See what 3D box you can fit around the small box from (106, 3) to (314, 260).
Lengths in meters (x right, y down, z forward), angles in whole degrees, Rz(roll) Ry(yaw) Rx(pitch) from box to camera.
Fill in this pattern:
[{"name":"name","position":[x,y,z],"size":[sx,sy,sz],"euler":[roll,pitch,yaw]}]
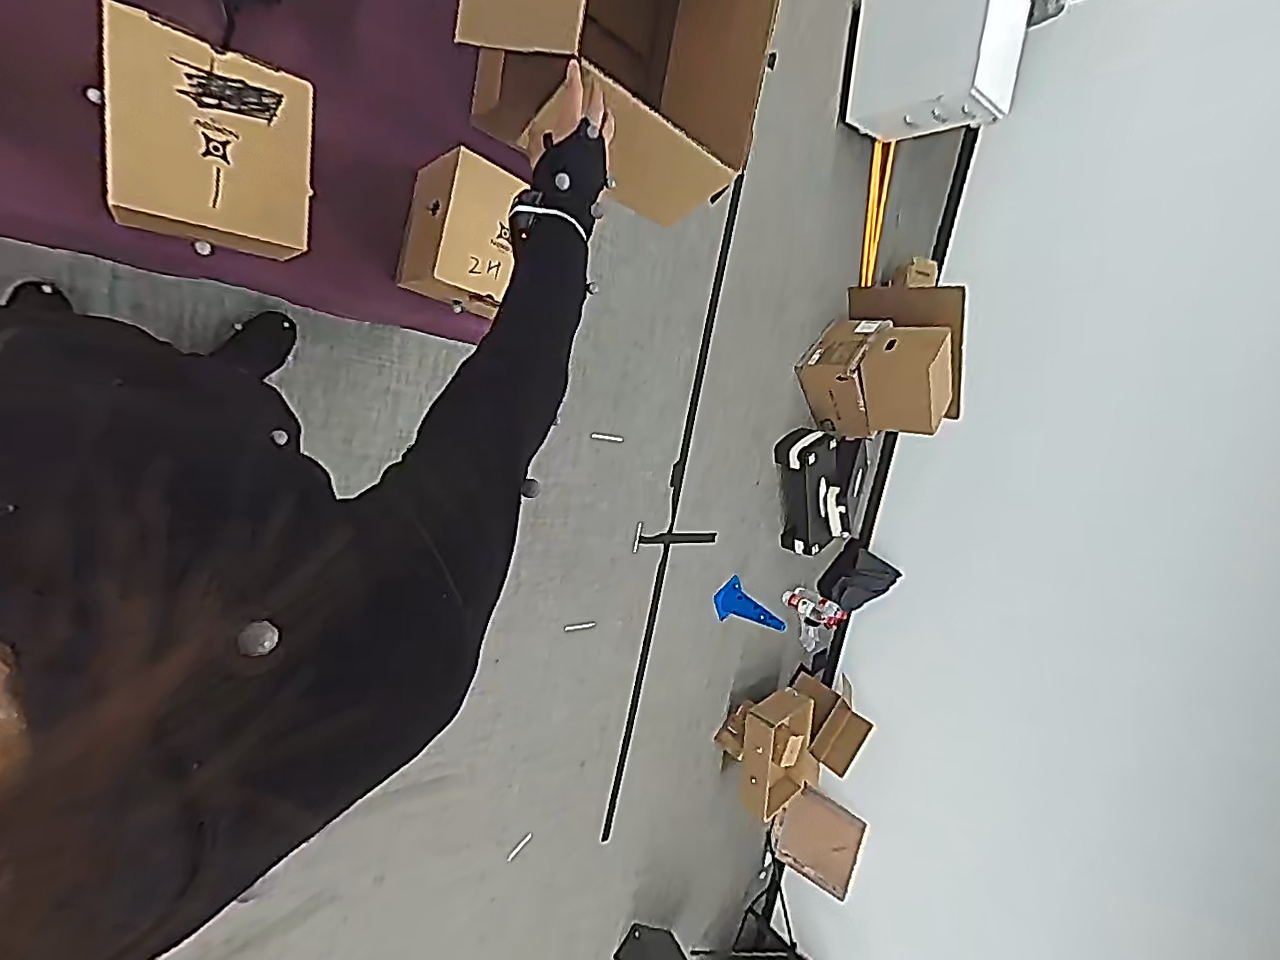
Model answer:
[{"name":"small box","position":[-0.481,-0.361,0.606],"size":[0.168,0.176,0.179],"euler":[0,104,-41]}]

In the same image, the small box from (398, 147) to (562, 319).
[{"name":"small box","position":[-0.246,-0.355,0.816],"size":[0.168,0.176,0.179],"euler":[11,96,-42]}]
